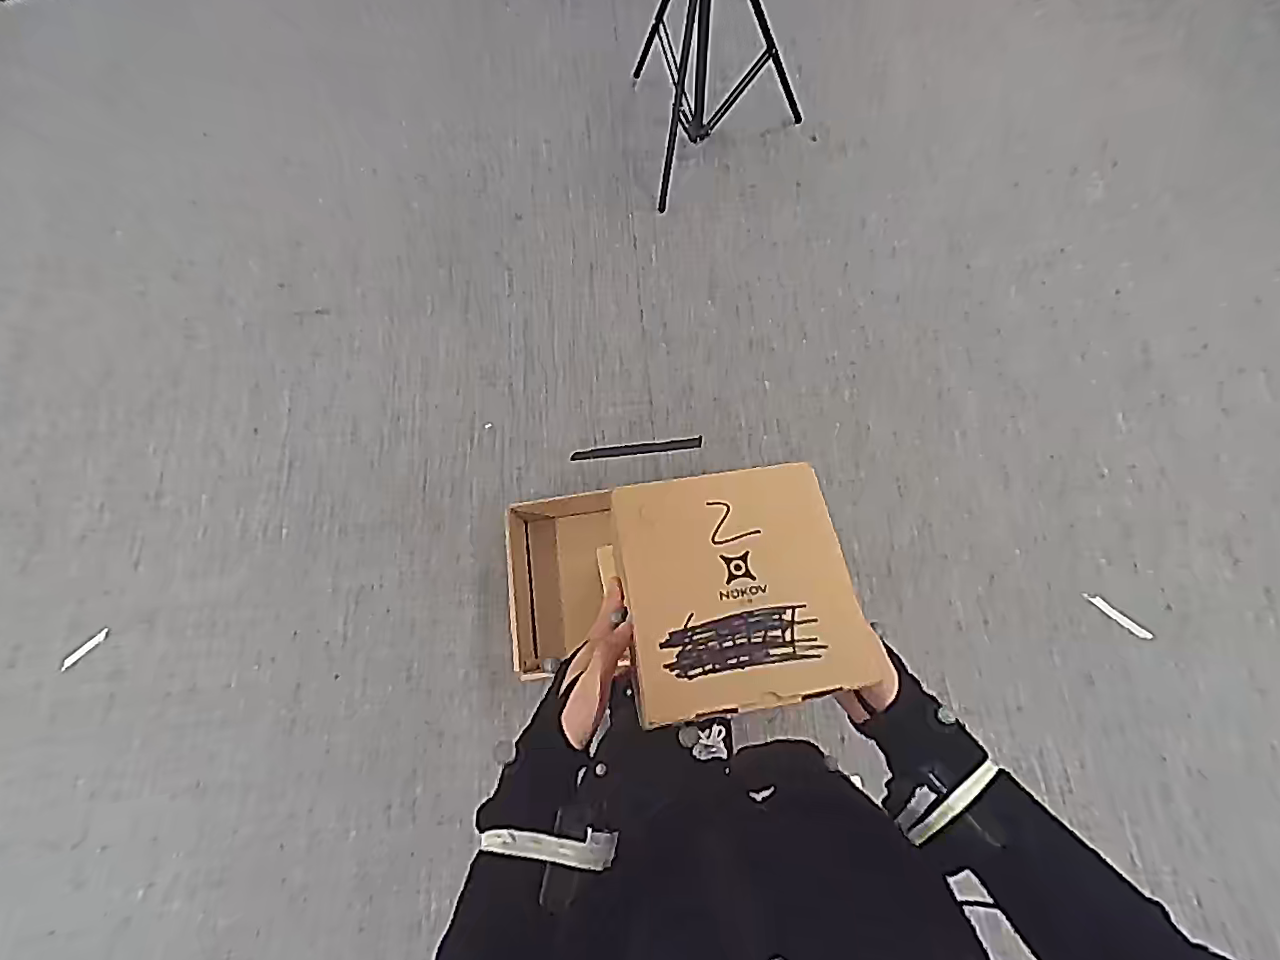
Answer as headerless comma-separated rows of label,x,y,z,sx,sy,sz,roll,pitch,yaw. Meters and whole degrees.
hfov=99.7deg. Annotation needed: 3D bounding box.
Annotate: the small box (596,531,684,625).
small box,0.001,0.236,1.270,0.168,0.176,0.179,-14,73,-1
